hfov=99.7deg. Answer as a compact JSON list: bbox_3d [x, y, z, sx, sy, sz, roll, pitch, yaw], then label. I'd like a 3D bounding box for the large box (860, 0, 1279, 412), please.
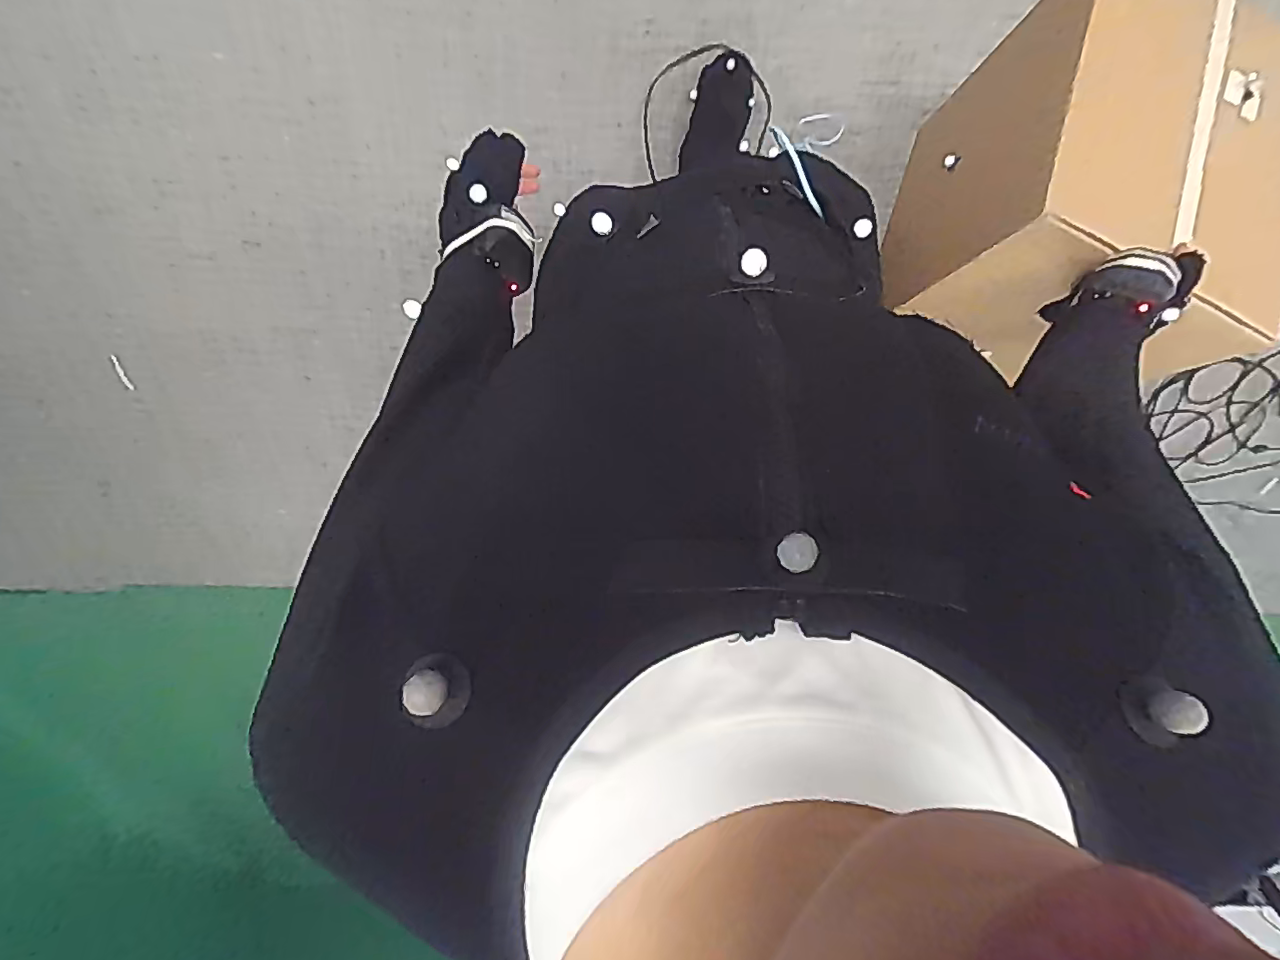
[{"bbox_3d":[0.561,-0.359,0.736,0.320,0.408,0.320,23,168,-10],"label":"large box"}]
